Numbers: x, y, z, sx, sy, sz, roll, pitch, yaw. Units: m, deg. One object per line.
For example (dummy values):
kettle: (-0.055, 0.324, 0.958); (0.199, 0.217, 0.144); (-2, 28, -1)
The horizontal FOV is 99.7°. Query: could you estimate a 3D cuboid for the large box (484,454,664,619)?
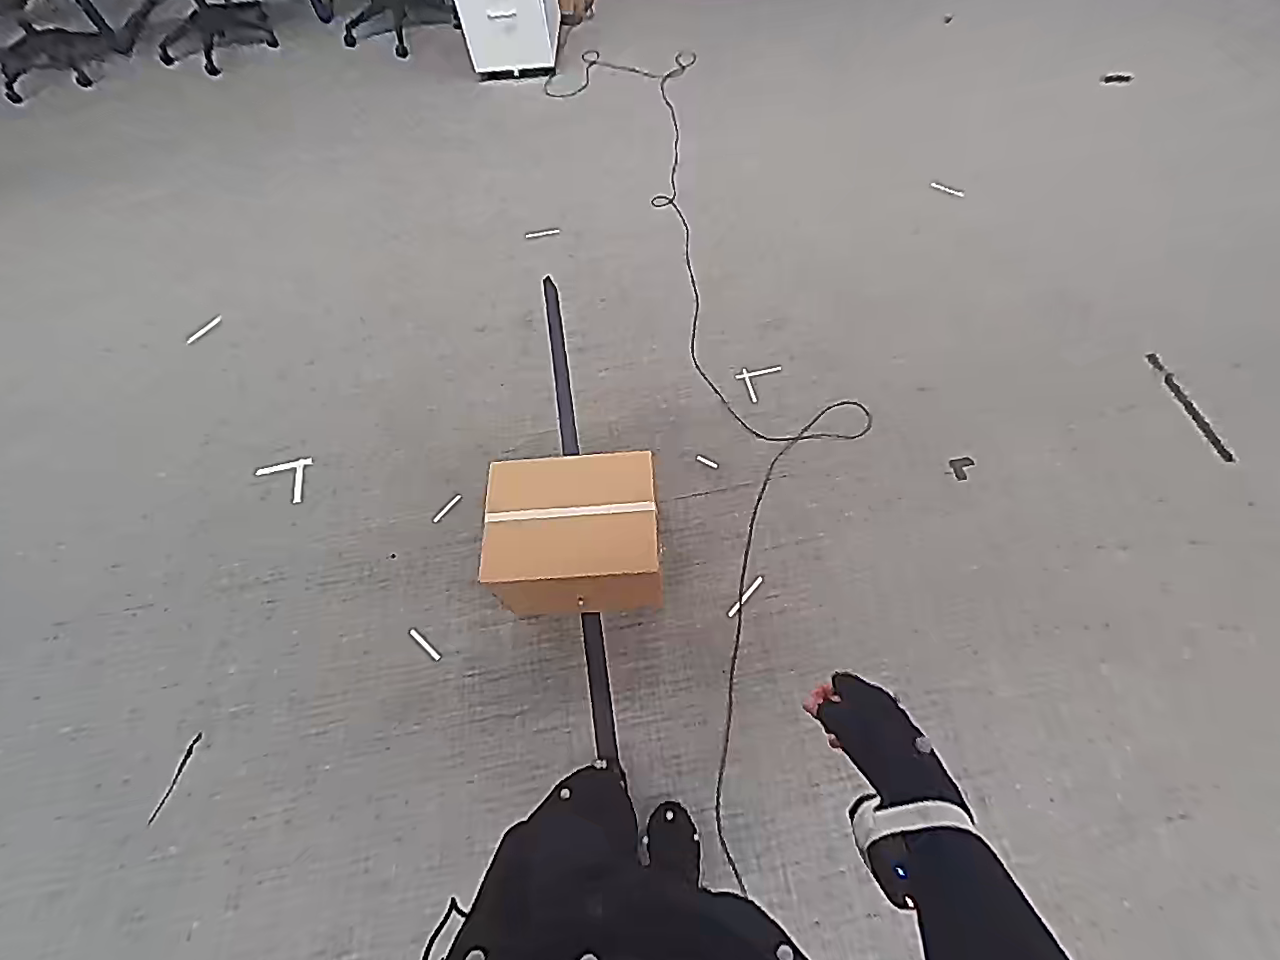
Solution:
large box: (-0.150, 0.156, 1.389); (0.408, 0.320, 0.320); (-4, 63, 2)
